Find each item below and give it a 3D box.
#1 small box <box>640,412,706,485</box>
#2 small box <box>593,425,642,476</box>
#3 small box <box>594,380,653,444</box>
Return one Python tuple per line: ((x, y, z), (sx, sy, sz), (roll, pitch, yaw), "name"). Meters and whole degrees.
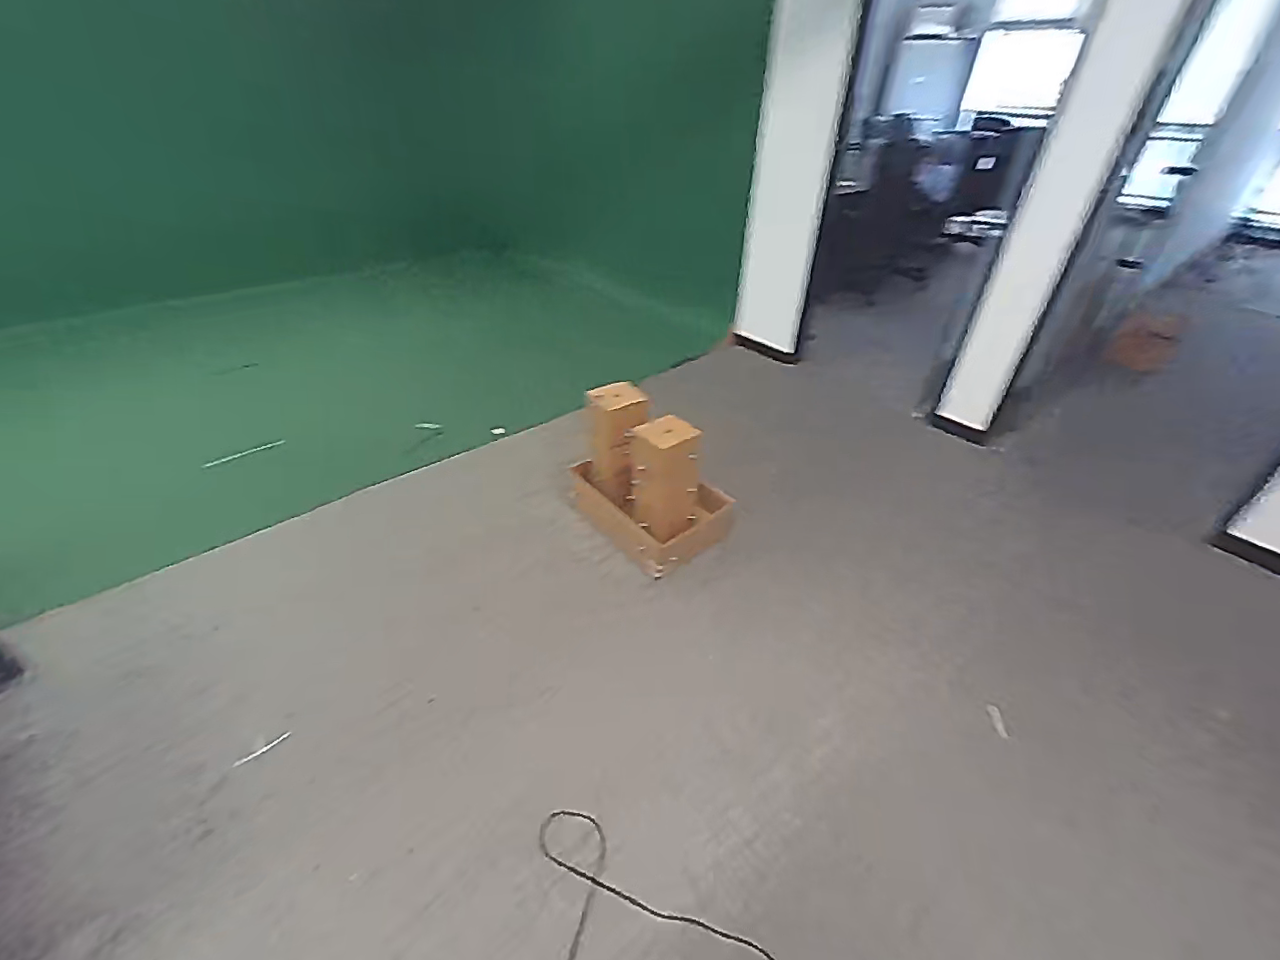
((0.110, -0.111, 1.907), (0.179, 0.176, 0.168), (-24, 44, -29), "small box")
((-0.074, -0.139, 2.198), (0.179, 0.176, 0.168), (-21, 44, -27), "small box")
((-0.069, -0.263, 2.090), (0.179, 0.176, 0.168), (-20, 42, -26), "small box")
